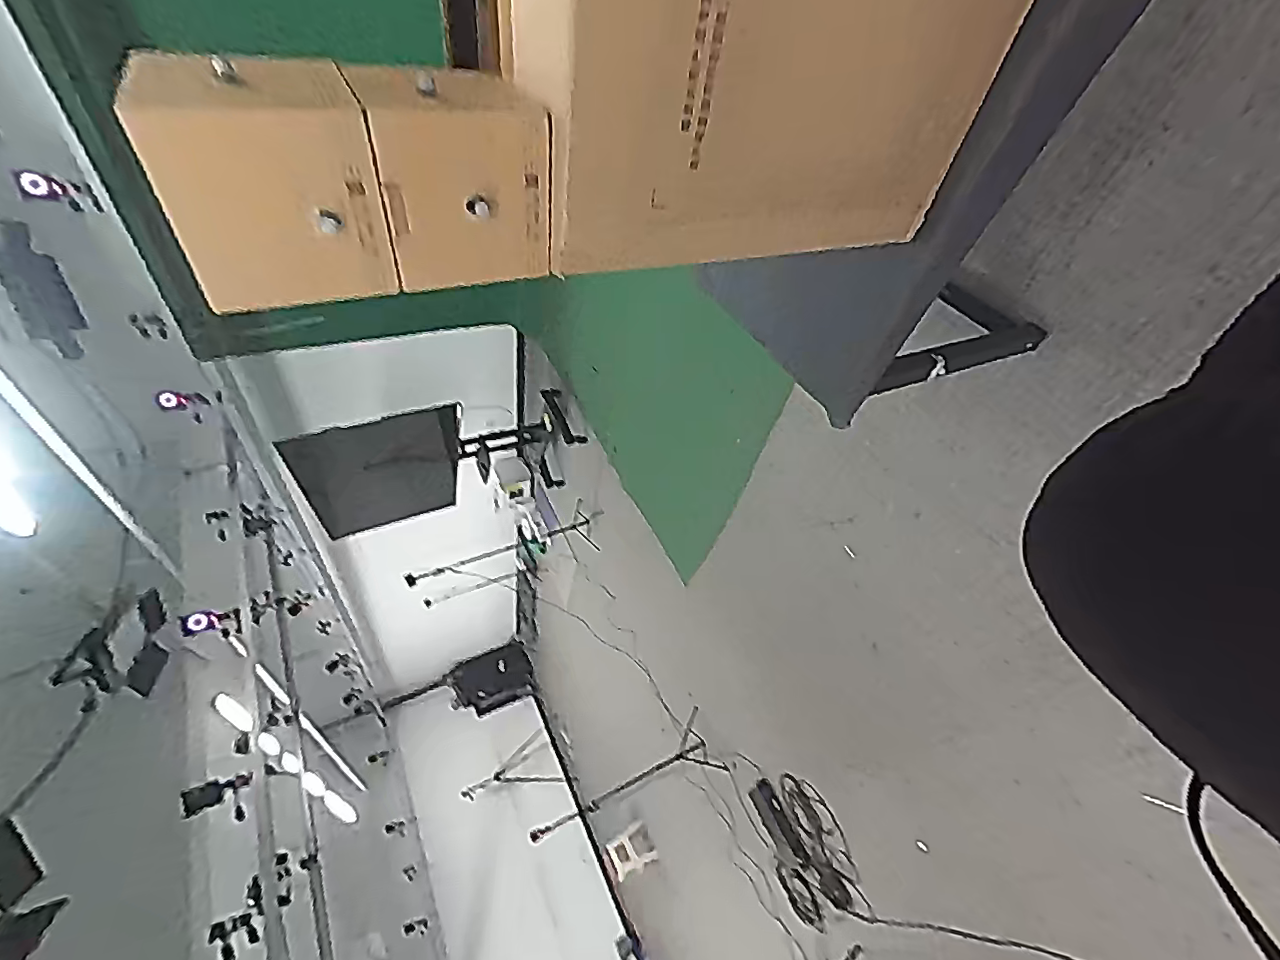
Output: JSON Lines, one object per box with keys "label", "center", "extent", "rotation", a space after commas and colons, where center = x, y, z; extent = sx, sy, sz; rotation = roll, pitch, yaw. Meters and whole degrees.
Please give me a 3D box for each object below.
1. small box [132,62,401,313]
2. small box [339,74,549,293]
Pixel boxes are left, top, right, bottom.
{"label": "small box", "center": [-0.351, -0.290, 0.535], "extent": [0.179, 0.176, 0.168], "rotation": [54, 151, 34]}
{"label": "small box", "center": [-0.207, -0.335, 0.603], "extent": [0.179, 0.176, 0.168], "rotation": [54, 150, 35]}
